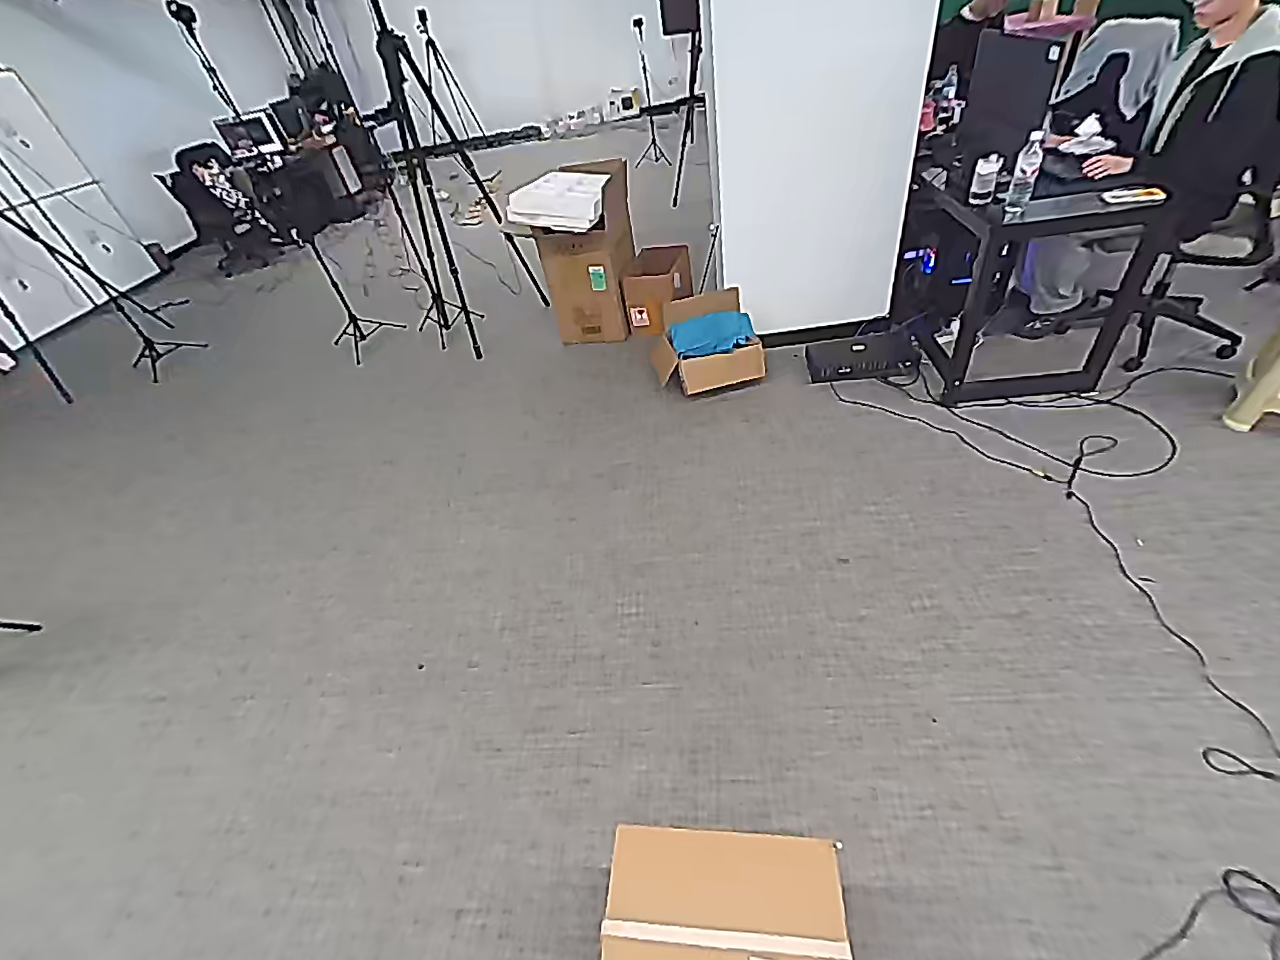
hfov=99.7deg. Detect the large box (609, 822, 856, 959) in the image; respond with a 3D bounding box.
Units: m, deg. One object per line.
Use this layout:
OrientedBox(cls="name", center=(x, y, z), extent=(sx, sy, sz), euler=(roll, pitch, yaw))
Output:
OrientedBox(cls="large box", center=(0.168, 0.867, 0.997), extent=(0.408, 0.320, 0.320), euler=(-2, 42, 10))
